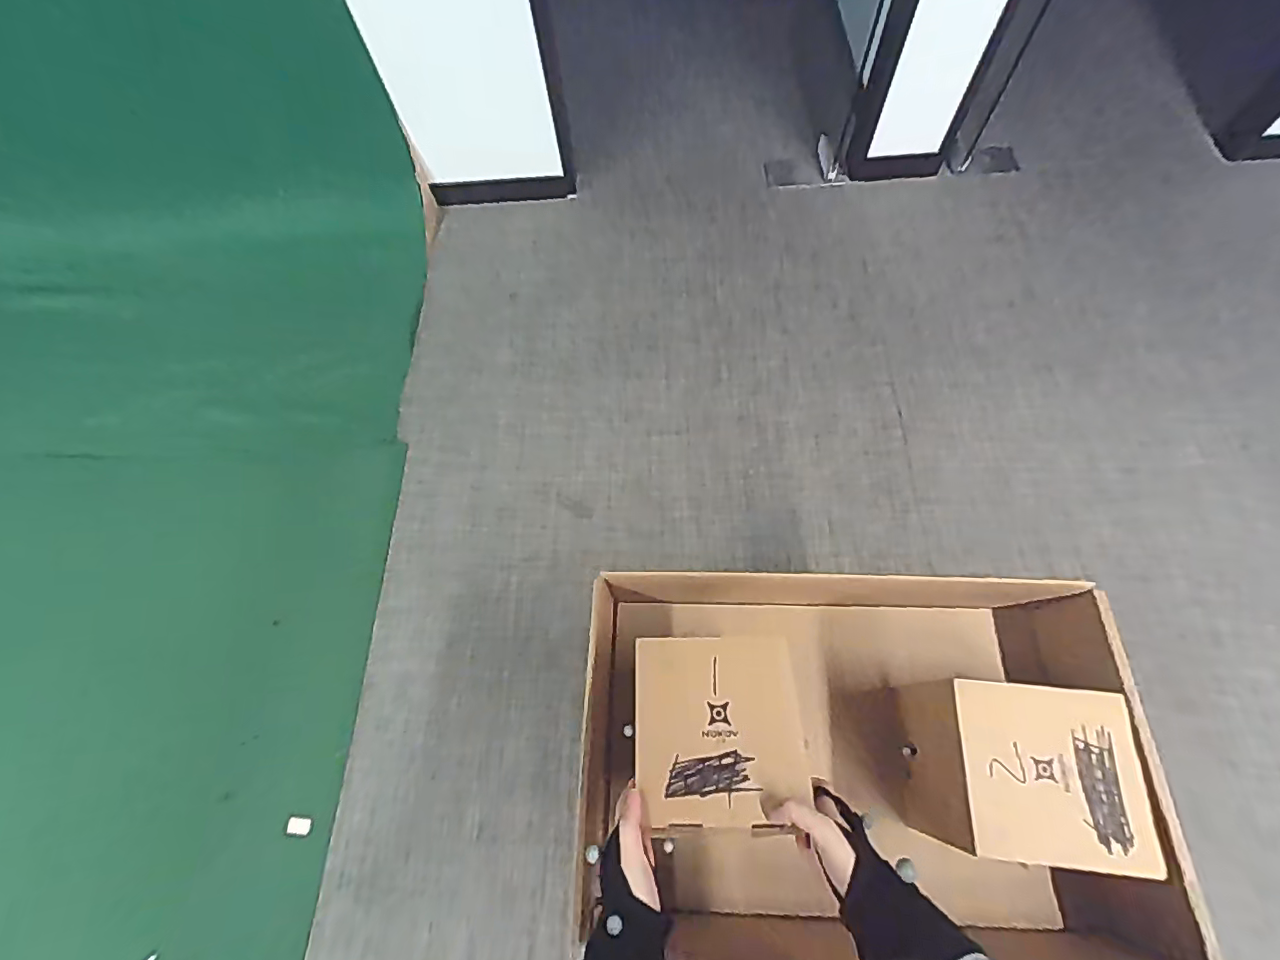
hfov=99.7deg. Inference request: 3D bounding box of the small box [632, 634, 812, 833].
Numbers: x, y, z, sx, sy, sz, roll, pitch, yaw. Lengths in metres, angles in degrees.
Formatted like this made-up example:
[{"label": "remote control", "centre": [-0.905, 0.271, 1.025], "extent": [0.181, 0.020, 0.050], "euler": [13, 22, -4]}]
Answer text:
[{"label": "small box", "centre": [0.080, 0.285, 0.600], "extent": [0.168, 0.176, 0.179], "euler": [-1, 53, 2]}]
